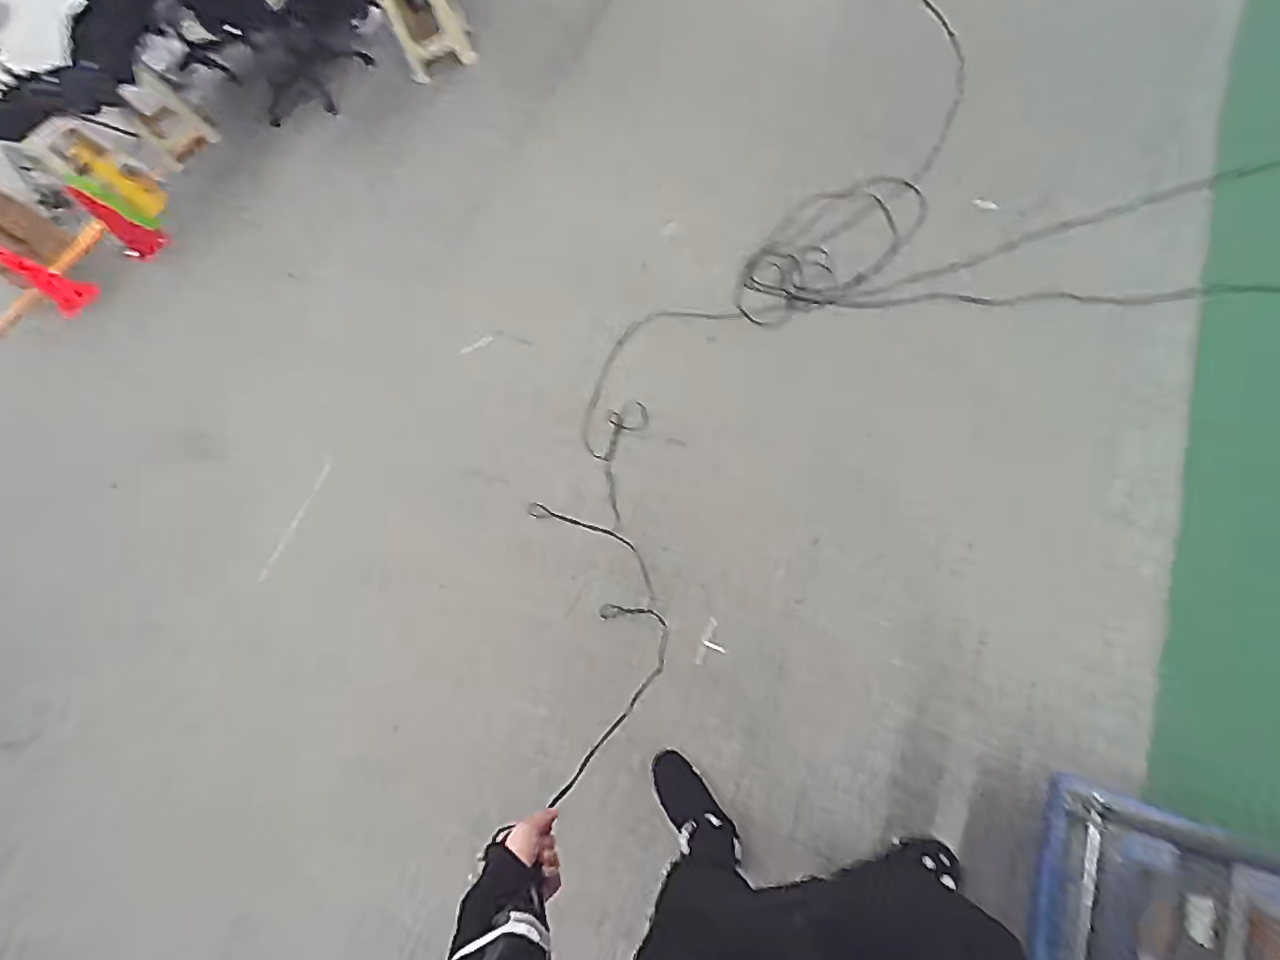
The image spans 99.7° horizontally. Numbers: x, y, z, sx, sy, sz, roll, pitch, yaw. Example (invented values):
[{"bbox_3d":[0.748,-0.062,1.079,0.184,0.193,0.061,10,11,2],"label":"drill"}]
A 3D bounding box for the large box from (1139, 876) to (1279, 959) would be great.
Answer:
[{"bbox_3d":[1.016,0.847,0.748,0.408,0.320,0.320,20,73,19],"label":"large box"}]
